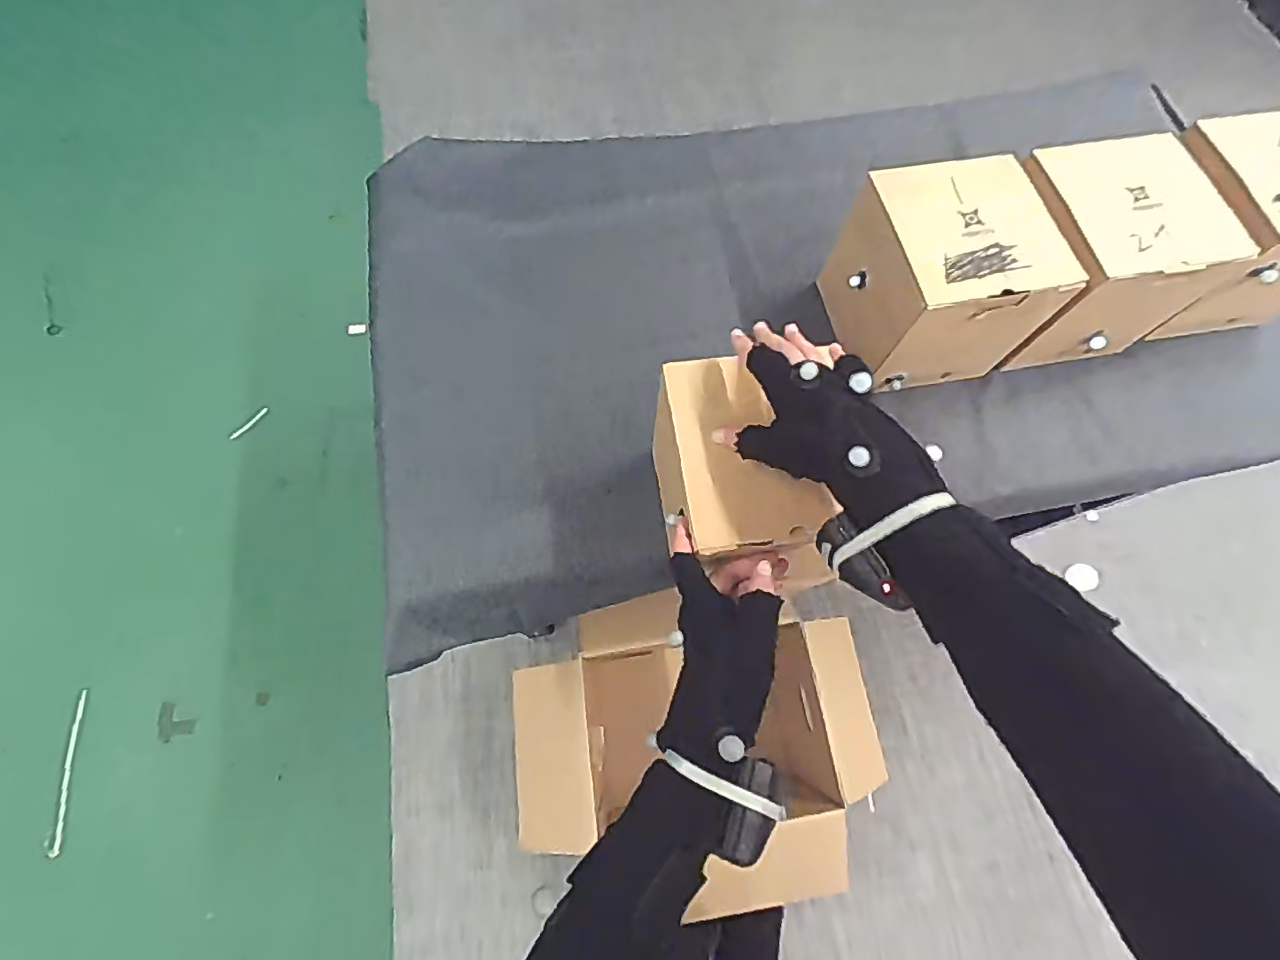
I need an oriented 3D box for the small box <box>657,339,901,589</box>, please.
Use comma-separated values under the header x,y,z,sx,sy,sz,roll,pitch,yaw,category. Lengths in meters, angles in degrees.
x,y,z,sx,sy,sz,roll,pitch,yaw,category
0.110,-0.007,0.520,0.168,0.176,0.179,-8,67,-4,small box
